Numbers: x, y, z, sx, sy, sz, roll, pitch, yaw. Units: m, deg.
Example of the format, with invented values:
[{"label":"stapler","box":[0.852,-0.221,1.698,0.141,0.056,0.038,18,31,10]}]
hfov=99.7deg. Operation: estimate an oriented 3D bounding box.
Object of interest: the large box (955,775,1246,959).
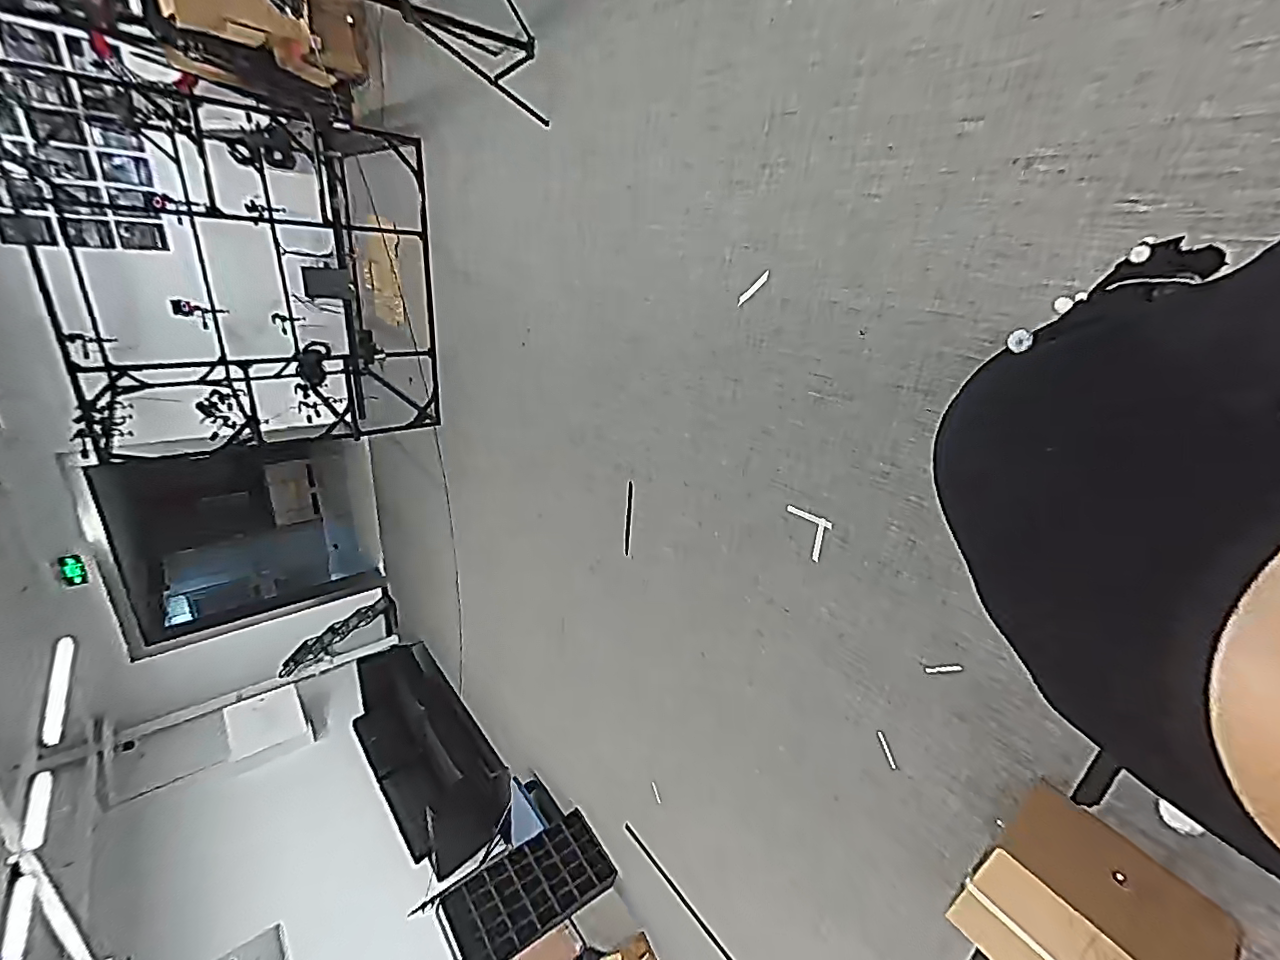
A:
[{"label":"large box","box":[1.052,1.010,1.267,0.408,0.320,0.320,34,127,40]}]
